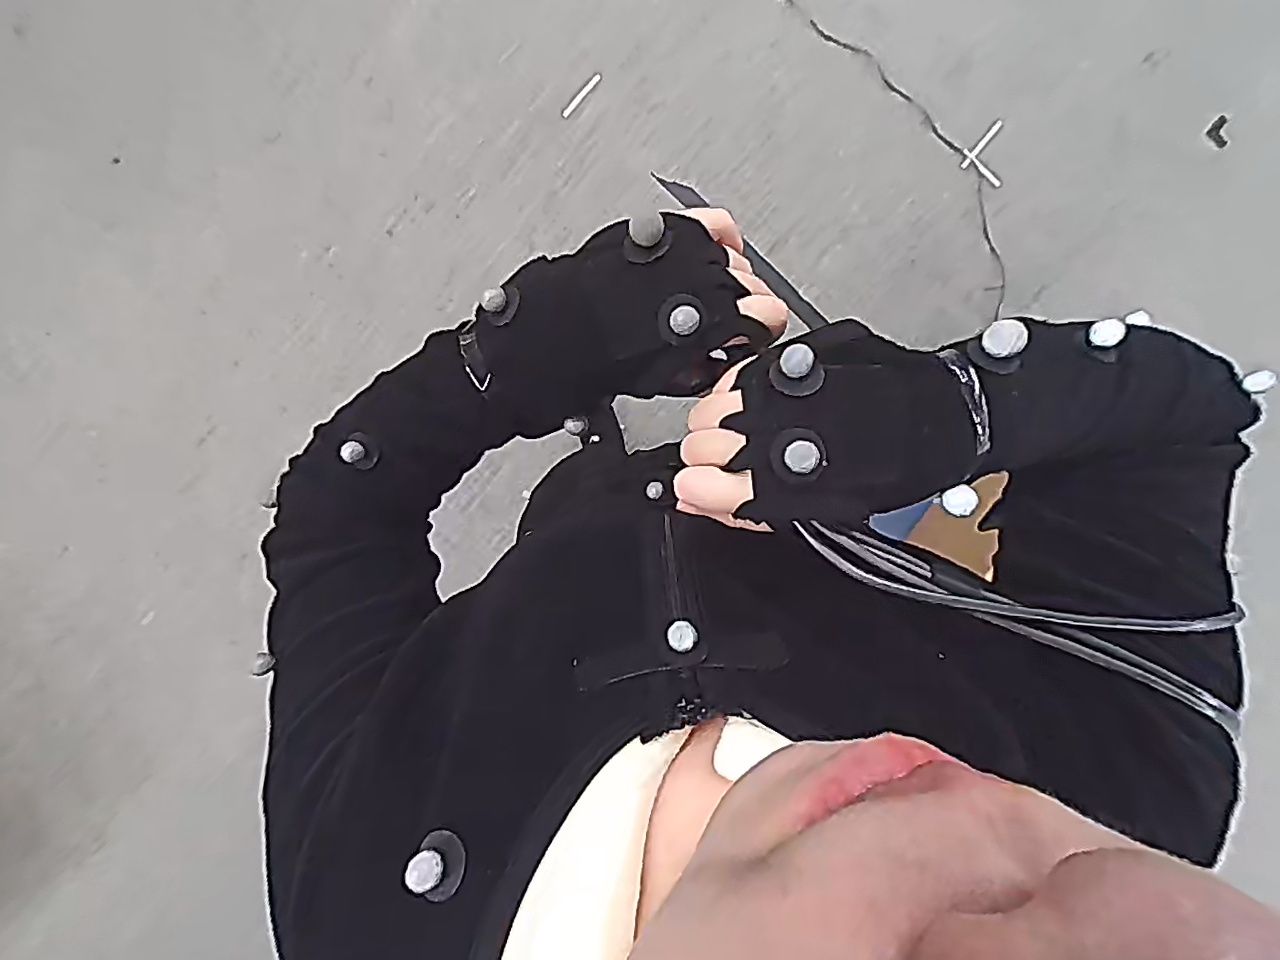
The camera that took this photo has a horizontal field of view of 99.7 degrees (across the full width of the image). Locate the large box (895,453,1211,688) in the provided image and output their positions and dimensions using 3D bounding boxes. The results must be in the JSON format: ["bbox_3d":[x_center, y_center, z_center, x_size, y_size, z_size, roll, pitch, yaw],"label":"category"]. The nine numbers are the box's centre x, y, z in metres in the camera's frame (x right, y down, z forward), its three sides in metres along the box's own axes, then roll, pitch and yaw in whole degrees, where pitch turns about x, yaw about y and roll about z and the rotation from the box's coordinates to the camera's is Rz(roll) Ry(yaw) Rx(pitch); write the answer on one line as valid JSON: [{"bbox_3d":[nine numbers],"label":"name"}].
[{"bbox_3d":[0.883,0.174,1.212,0.408,0.320,0.320,36,93,-6],"label":"large box"}]
